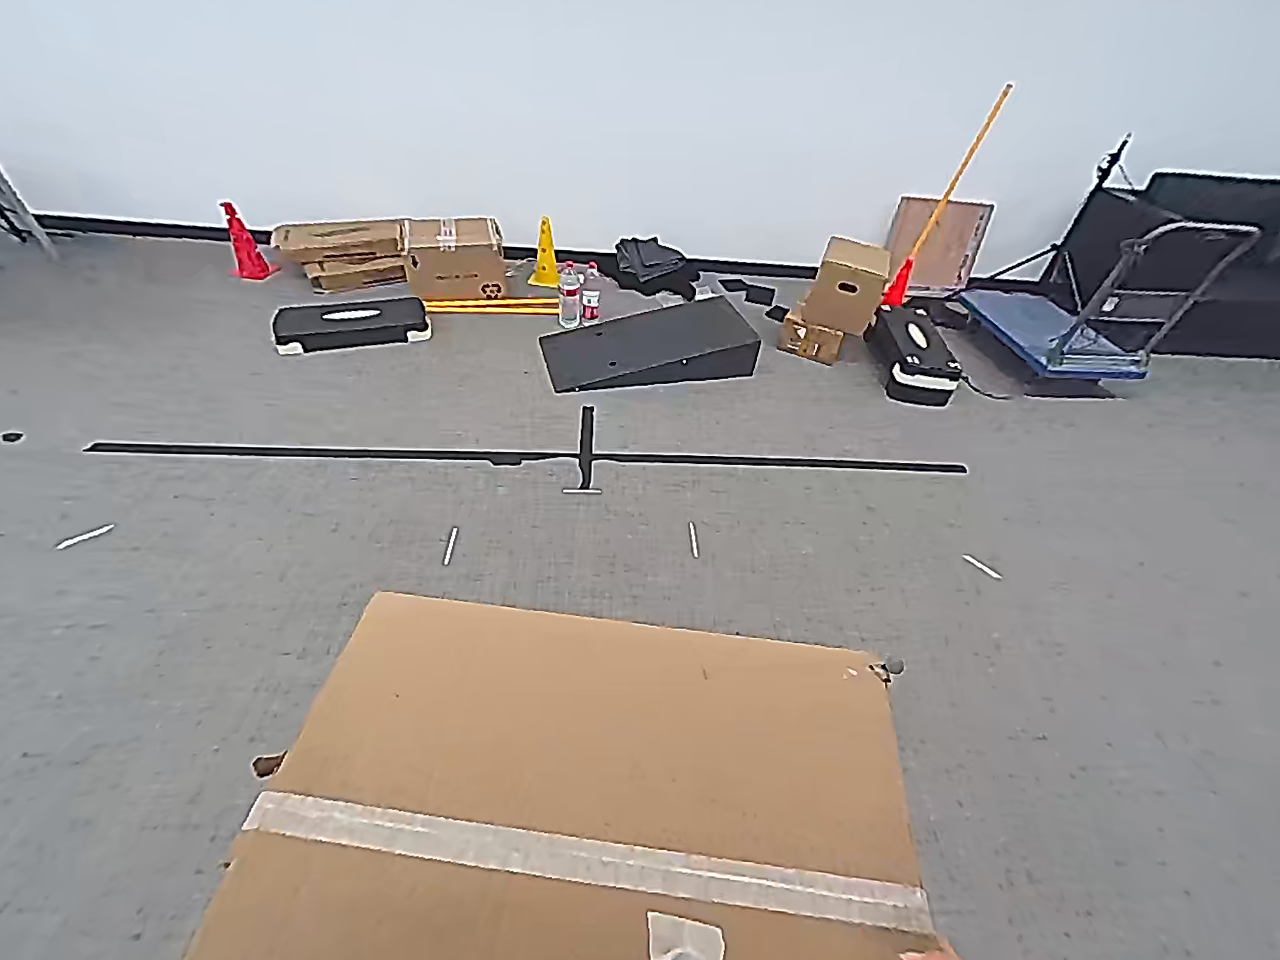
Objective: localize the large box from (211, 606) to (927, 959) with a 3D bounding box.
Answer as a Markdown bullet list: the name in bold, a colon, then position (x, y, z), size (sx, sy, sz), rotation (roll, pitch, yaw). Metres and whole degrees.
- **large box**: position (-0.036, 0.333, 0.442), size (0.408, 0.320, 0.320), rotation (6, 49, 3)
